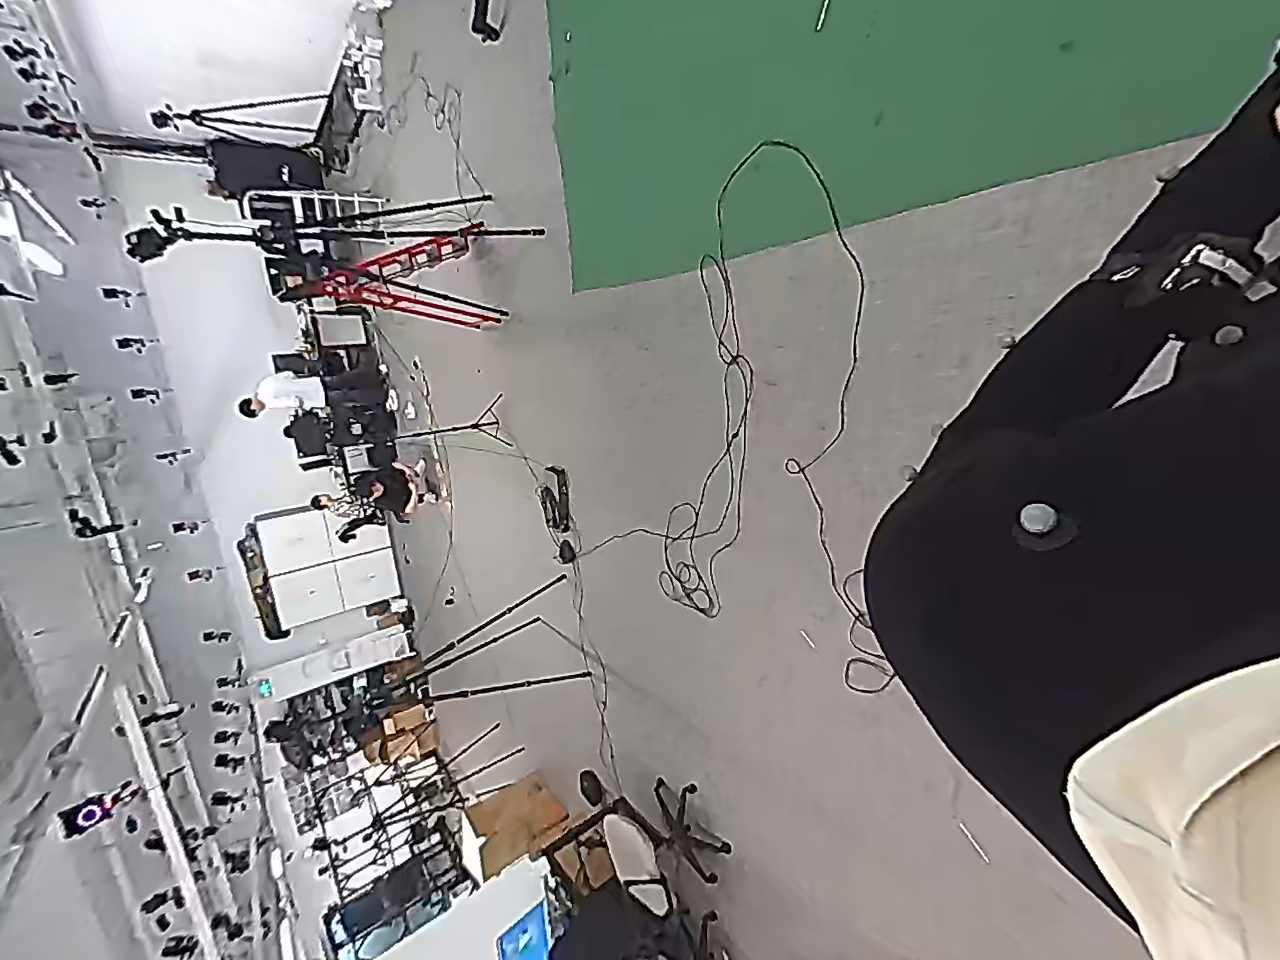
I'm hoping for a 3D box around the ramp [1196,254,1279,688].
[{"bbox_3d":[1.456,0.045,1.040,0.509,0.206,0.991,7,108,52],"label":"ramp"}]
